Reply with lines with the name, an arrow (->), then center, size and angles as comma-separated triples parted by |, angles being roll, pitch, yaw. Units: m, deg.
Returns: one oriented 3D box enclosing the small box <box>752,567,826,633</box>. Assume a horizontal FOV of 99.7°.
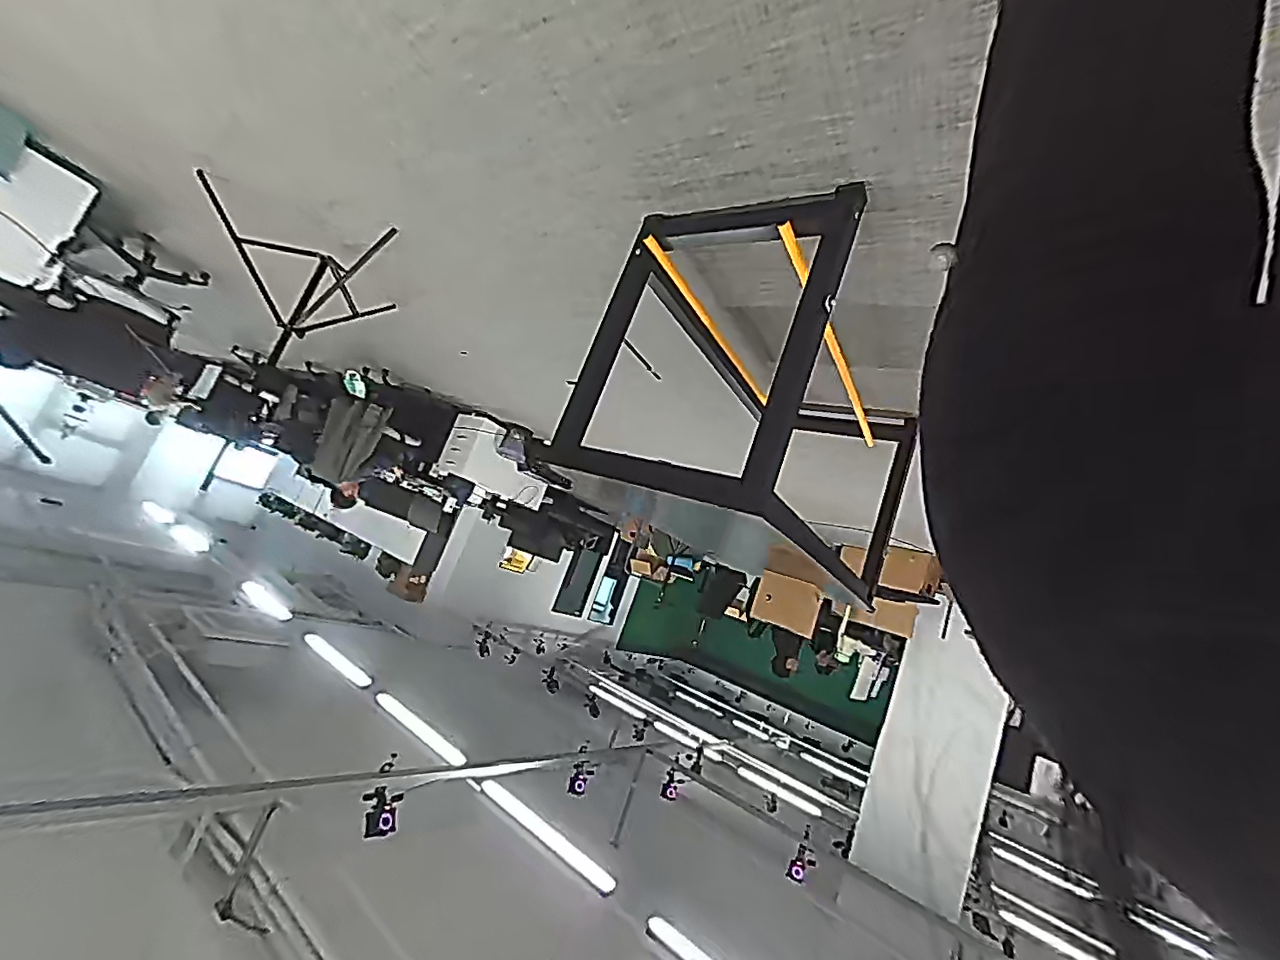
small box -> 0.507, 0.401, 1.826 | 0.179, 0.176, 0.168 | 13, 169, 35
